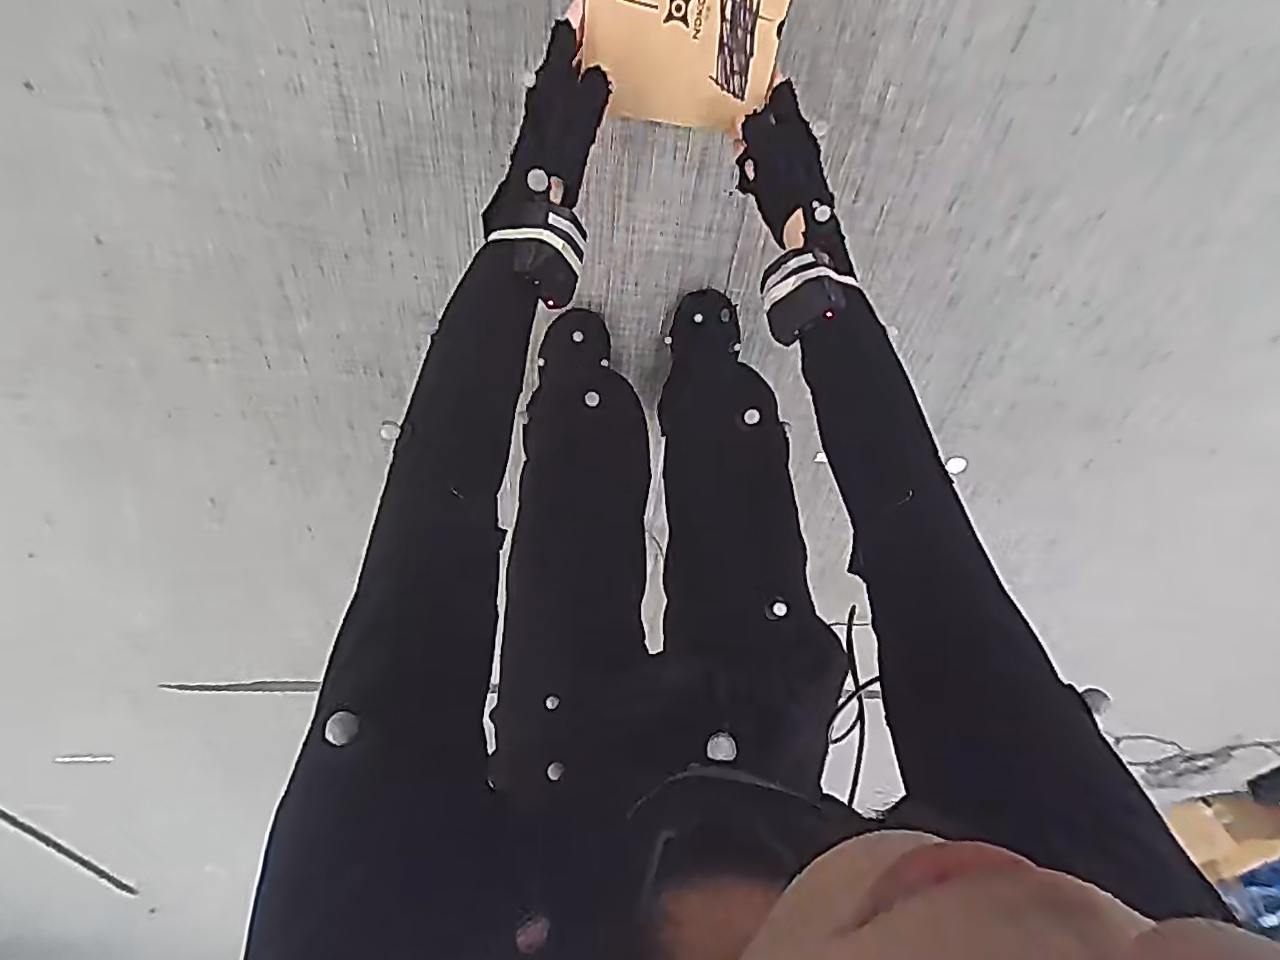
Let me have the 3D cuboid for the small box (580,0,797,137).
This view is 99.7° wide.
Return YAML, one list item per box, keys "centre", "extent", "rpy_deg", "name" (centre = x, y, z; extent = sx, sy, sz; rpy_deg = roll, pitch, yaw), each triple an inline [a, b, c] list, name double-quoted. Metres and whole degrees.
- centre: [0.040, -0.453, 0.512]
  extent: [0.179, 0.176, 0.168]
  rpy_deg: [6, 134, -8]
  name: "small box"
